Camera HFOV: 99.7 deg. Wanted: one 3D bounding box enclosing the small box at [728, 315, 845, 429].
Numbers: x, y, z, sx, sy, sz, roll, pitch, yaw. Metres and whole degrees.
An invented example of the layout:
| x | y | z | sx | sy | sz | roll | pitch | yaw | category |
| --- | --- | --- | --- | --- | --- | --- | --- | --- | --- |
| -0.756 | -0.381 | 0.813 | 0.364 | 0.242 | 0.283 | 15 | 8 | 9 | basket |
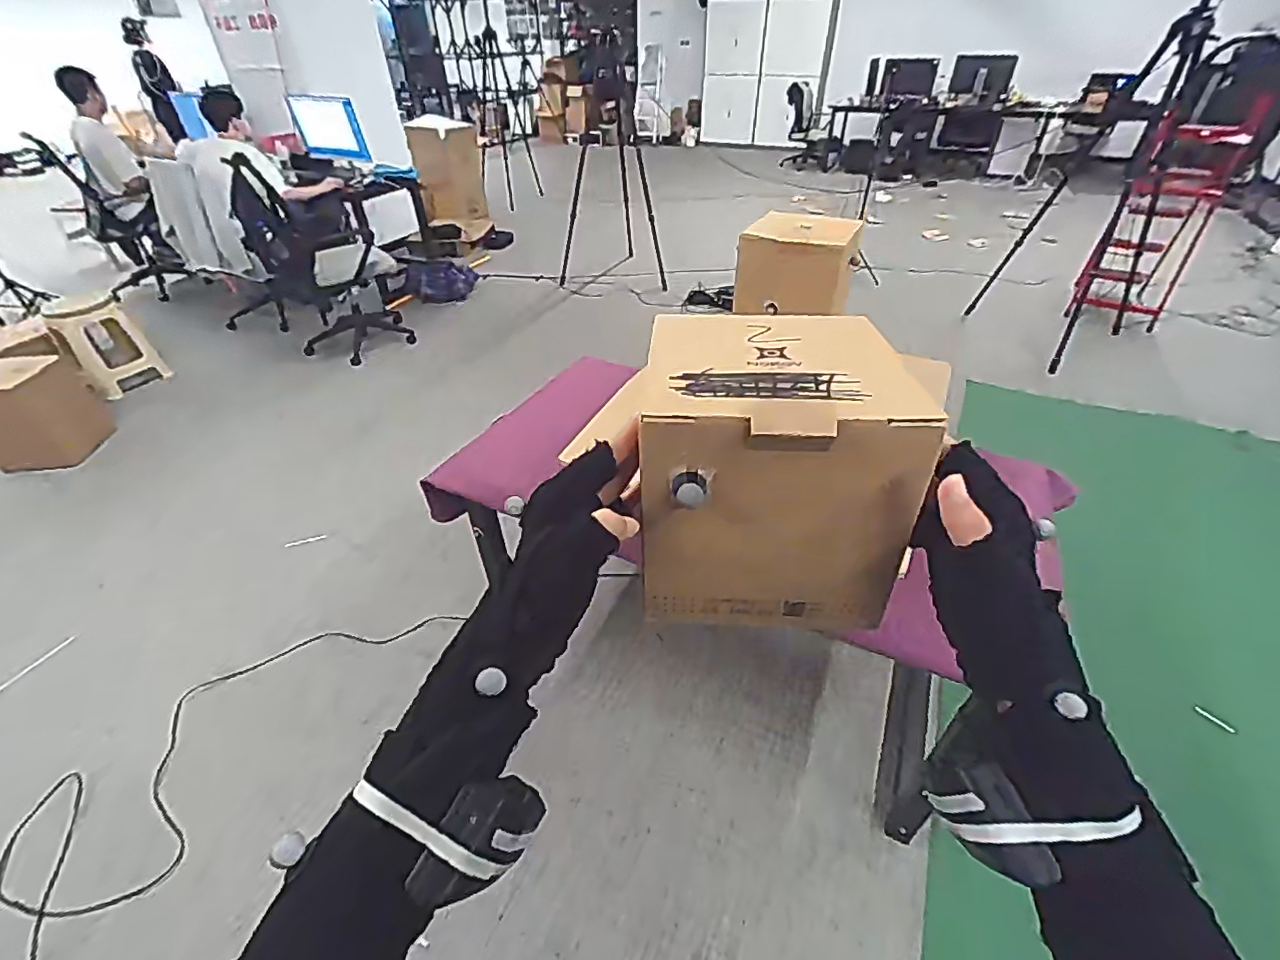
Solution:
| x | y | z | sx | sy | sz | roll | pitch | yaw | category |
| --- | --- | --- | --- | --- | --- | --- | --- | --- | --- |
| 0.276 | -0.223 | 1.041 | 0.168 | 0.176 | 0.179 | 18 | 42 | 23 | small box |

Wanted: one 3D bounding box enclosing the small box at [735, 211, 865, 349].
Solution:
| x | y | z | sx | sy | sz | roll | pitch | yaw | category |
| --- | --- | --- | --- | --- | --- | --- | --- | --- | --- |
| 0.271 | -0.348 | 0.935 | 0.168 | 0.176 | 0.179 | 17 | 42 | 21 | small box |
